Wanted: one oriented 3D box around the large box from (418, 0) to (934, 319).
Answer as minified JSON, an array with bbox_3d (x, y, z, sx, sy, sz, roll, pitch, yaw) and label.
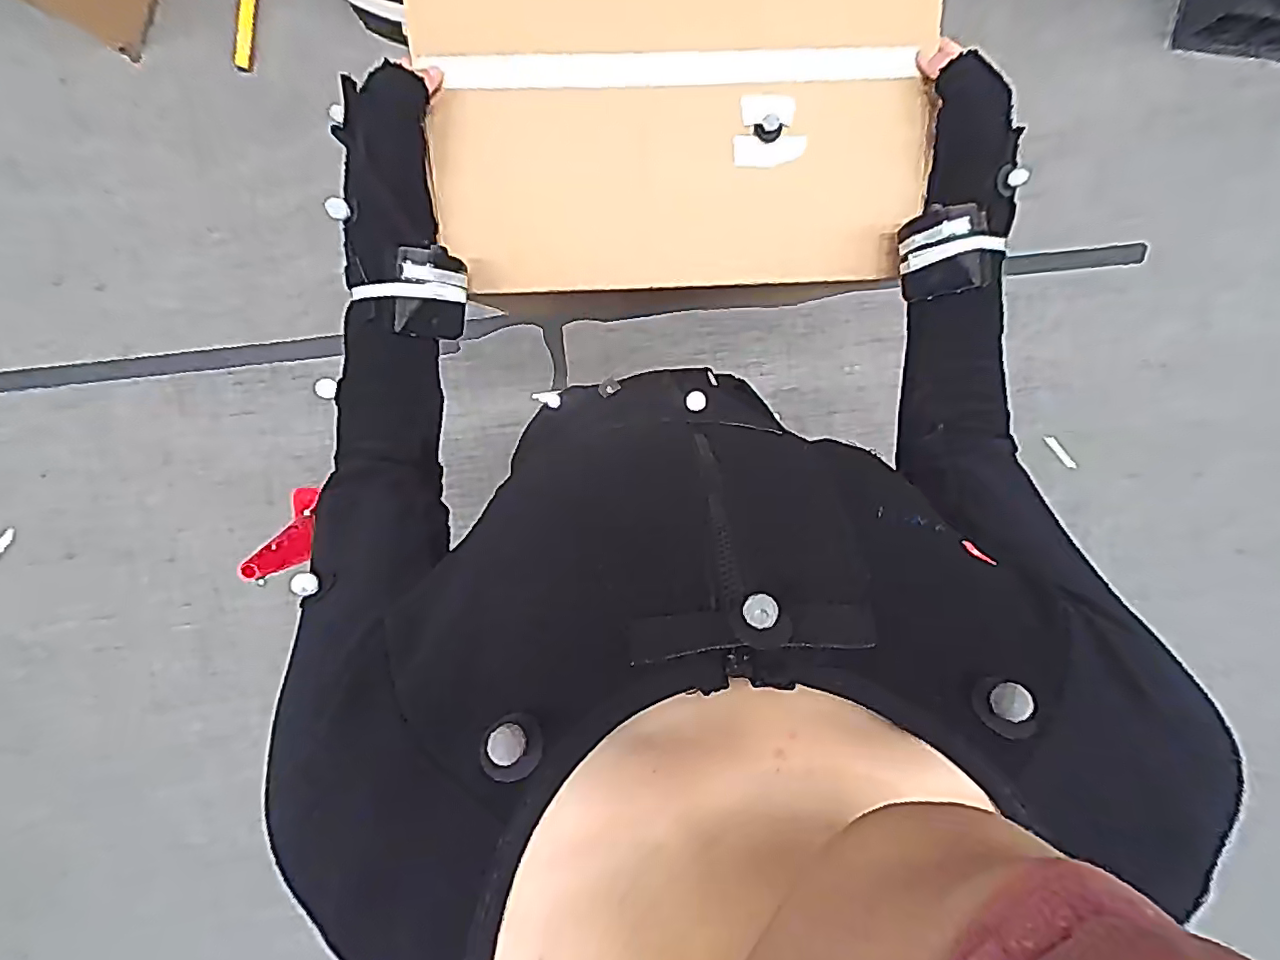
[{"bbox_3d":[0.022,-0.349,0.569,0.408,0.320,0.320,-3,104,-4],"label":"large box"}]
